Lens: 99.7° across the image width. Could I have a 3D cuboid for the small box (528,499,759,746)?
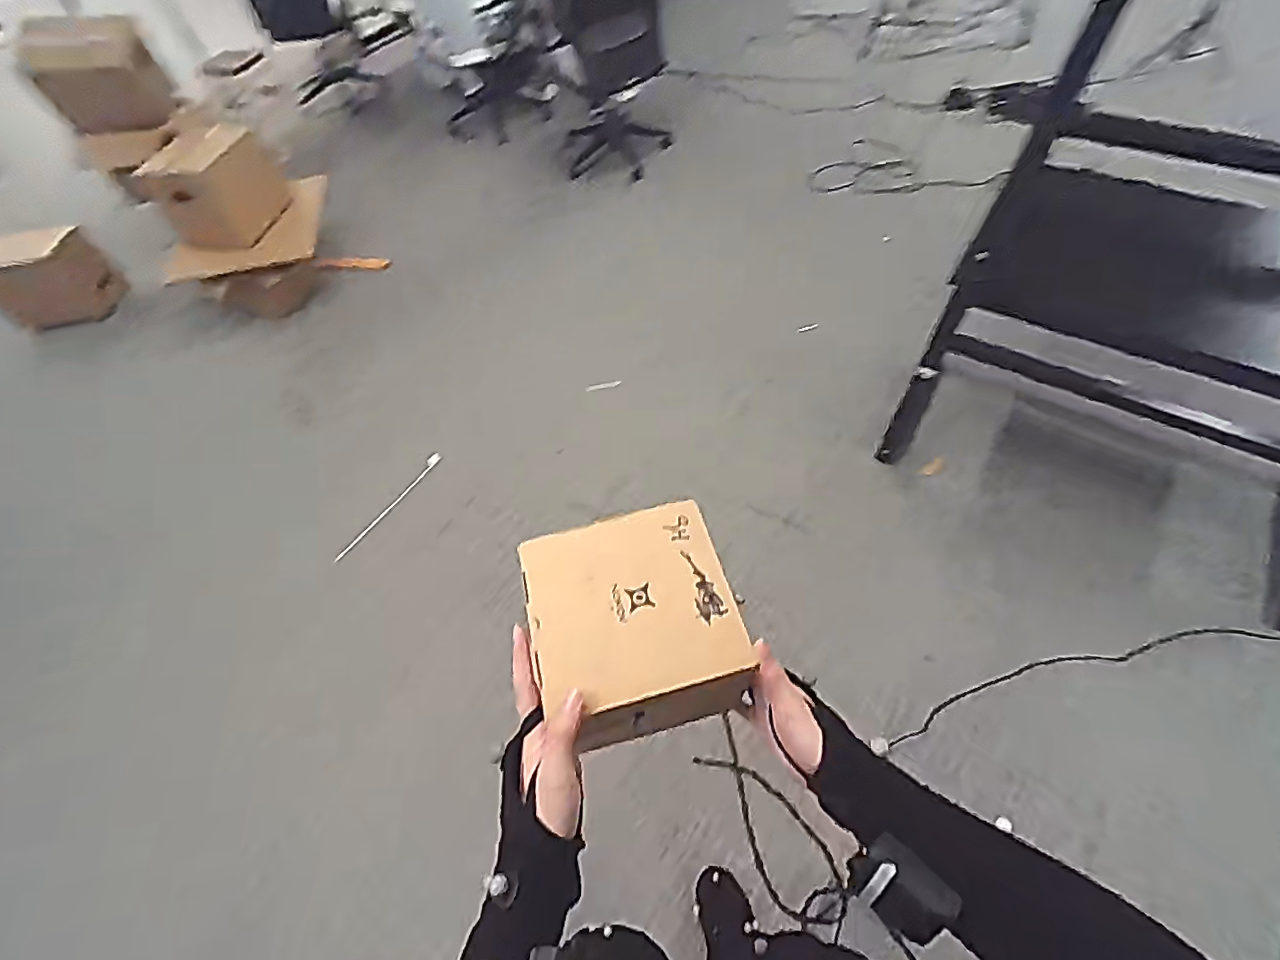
[{"bbox_3d":[0.002,0.147,0.535,0.179,0.176,0.168,-13,56,-5],"label":"small box"}]
